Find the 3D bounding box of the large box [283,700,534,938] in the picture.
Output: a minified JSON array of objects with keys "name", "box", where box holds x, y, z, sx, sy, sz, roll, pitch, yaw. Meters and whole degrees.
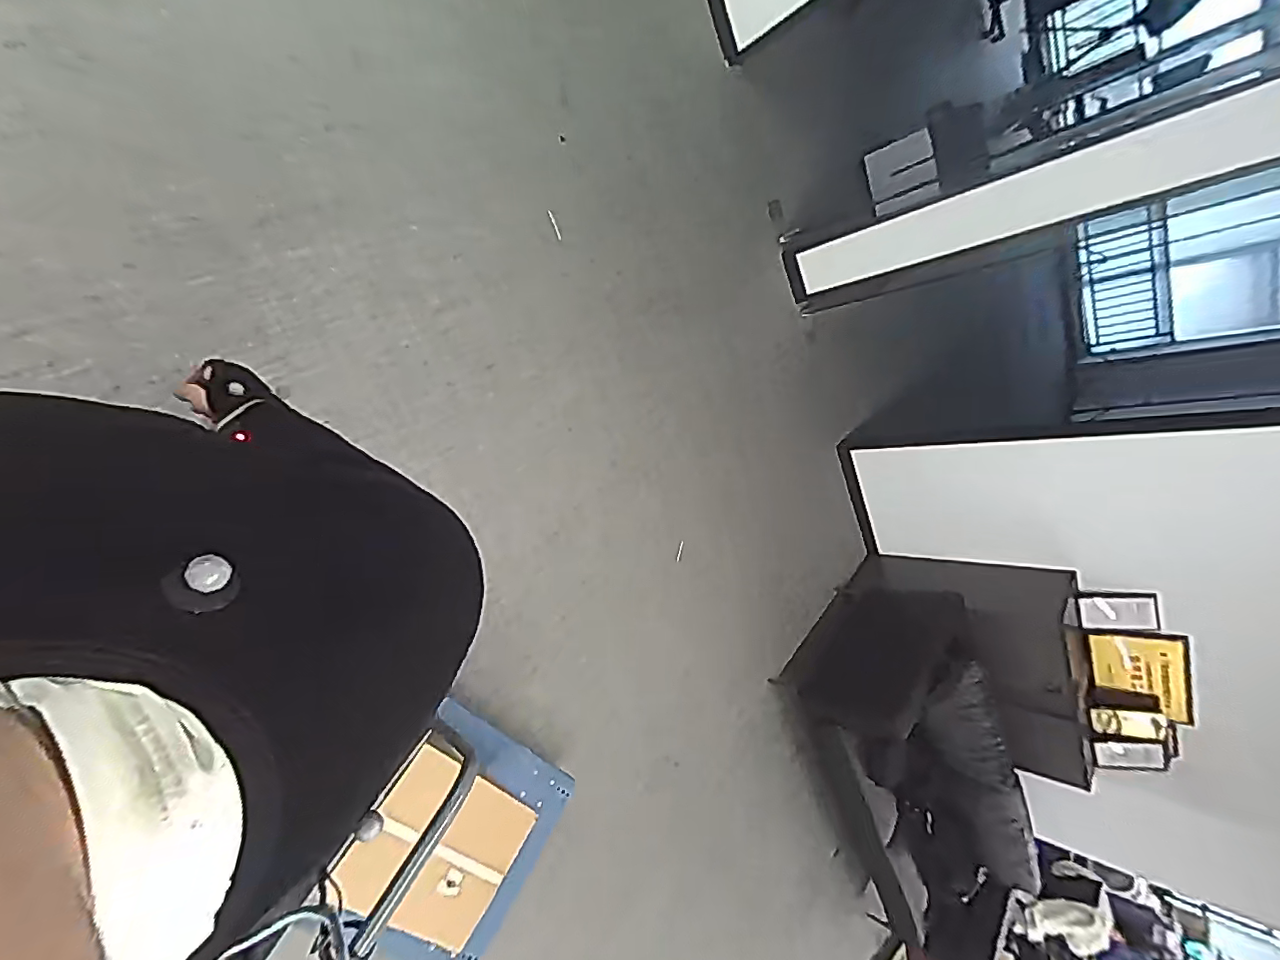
[{"name":"large box","box":[-0.550,0.801,1.310,0.408,0.320,0.320,53,57,-30]}]
